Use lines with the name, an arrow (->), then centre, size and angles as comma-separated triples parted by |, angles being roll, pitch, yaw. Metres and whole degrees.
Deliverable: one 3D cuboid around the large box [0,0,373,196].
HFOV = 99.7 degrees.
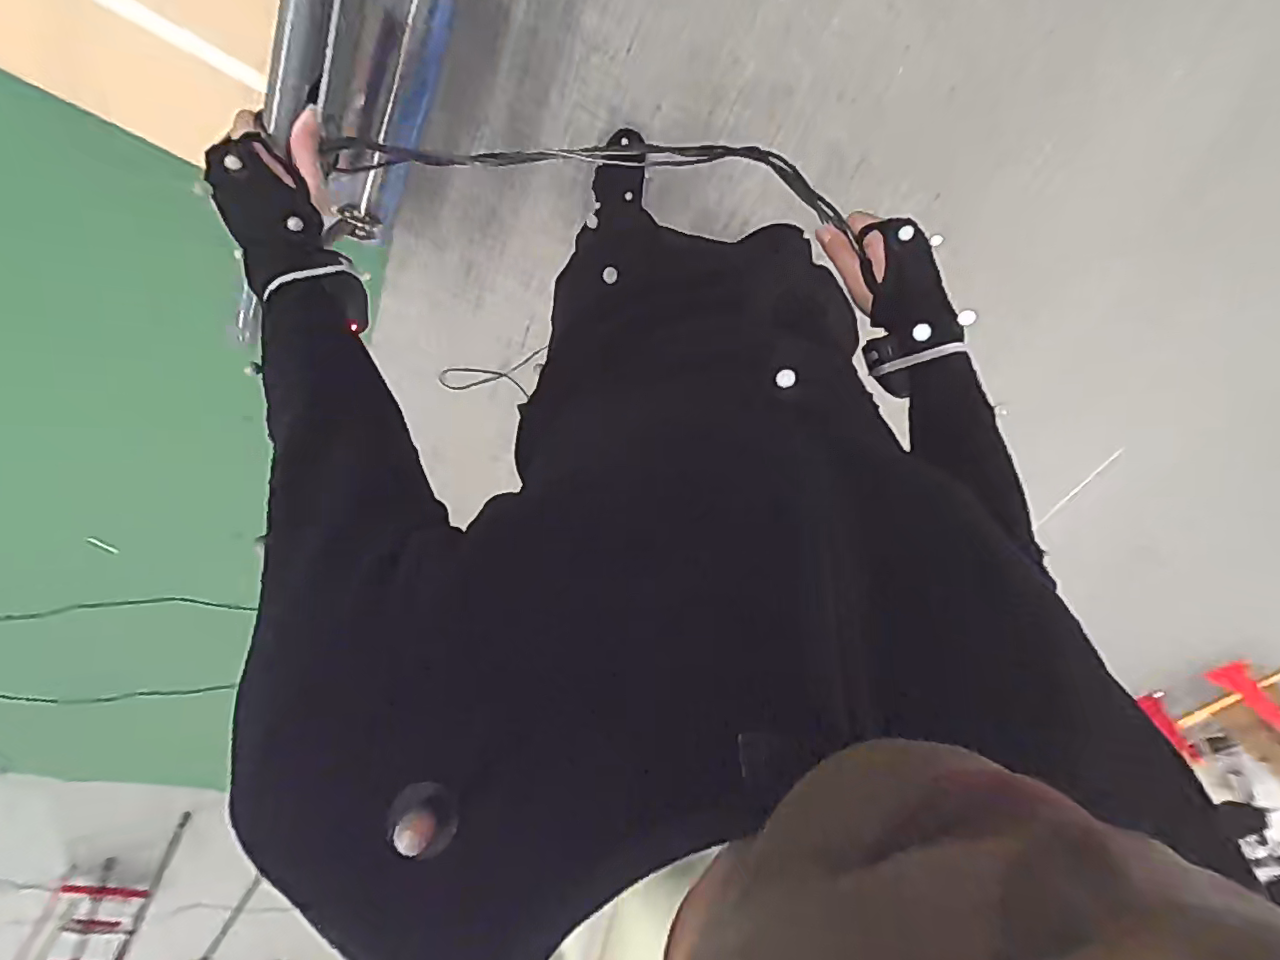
large box -> -0.692, -0.713, 0.830 | 0.408, 0.320, 0.320 | 23, 121, -21
